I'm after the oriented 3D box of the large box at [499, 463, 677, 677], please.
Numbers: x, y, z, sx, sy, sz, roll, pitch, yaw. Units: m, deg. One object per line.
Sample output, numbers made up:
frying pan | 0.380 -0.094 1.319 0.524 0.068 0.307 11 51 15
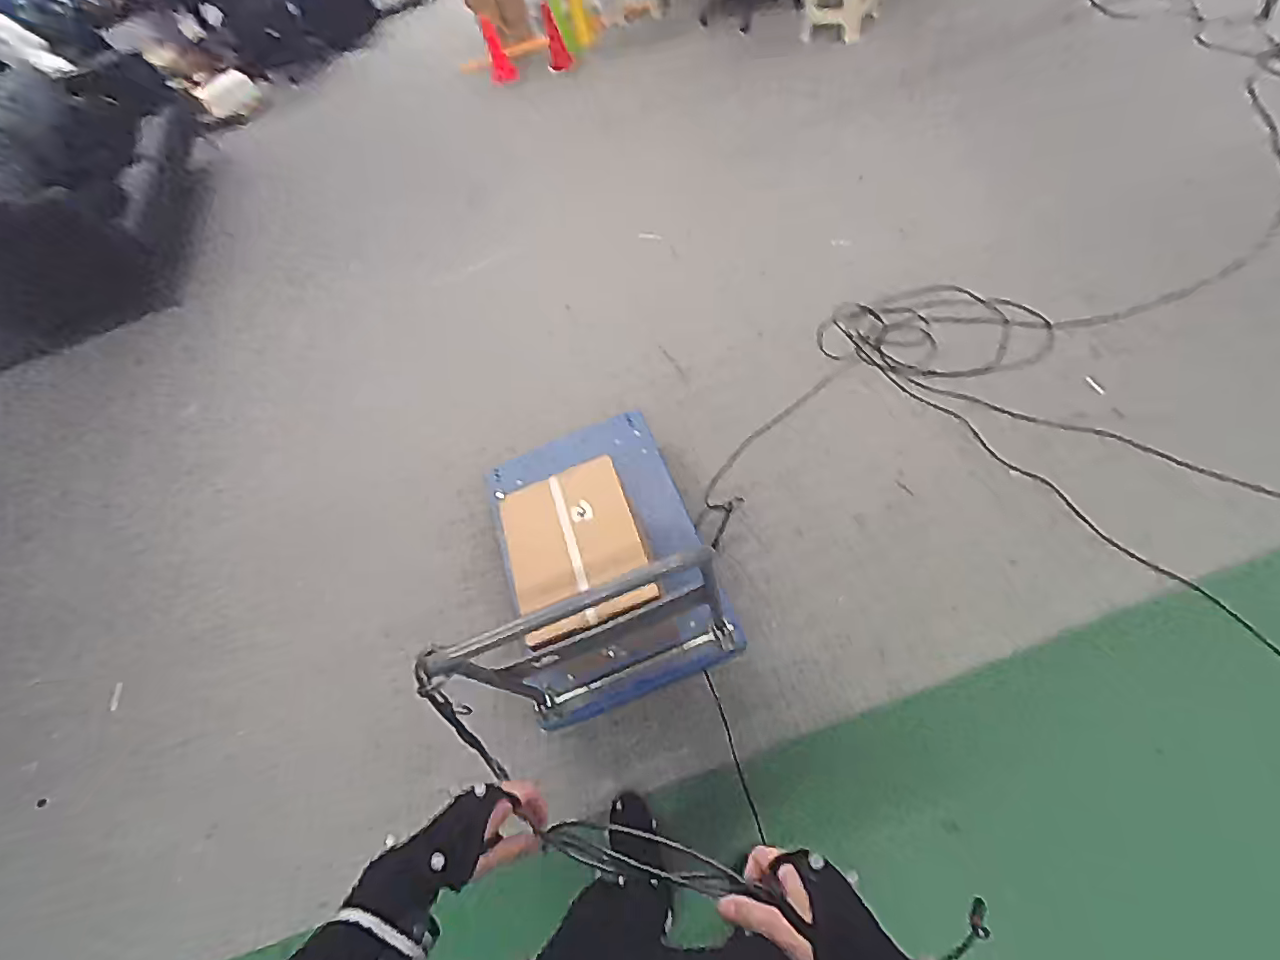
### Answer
large box | -0.131 0.239 1.412 0.320 0.320 0.408 -21 56 0
